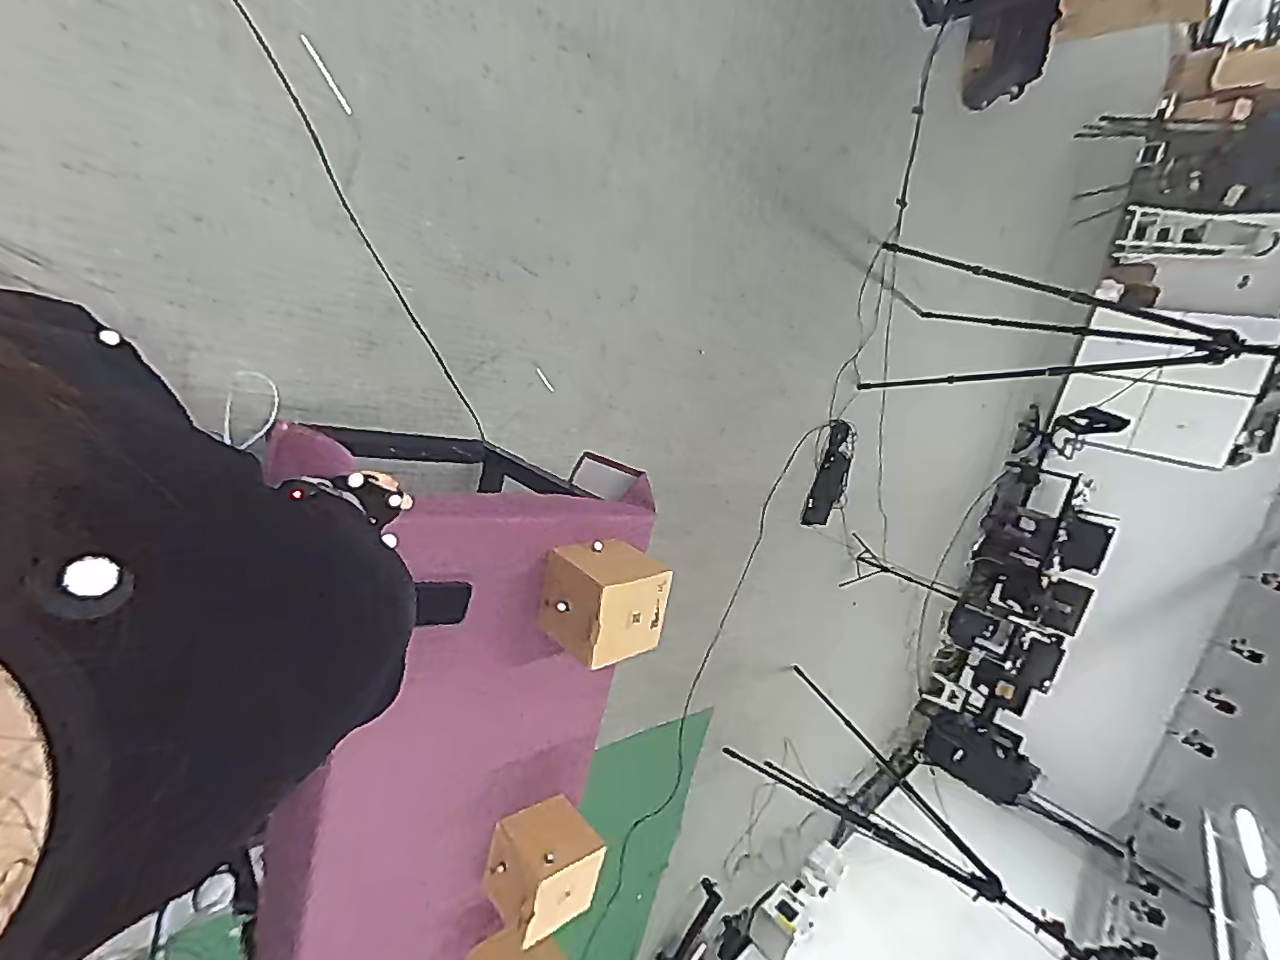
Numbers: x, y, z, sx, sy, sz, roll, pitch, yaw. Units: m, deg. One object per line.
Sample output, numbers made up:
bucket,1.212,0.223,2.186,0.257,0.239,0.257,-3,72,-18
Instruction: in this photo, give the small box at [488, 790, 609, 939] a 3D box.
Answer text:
small box,-0.200,0.817,1.173,0.179,0.176,0.168,5,104,-45

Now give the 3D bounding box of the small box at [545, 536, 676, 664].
small box,-0.062,0.219,1.038,0.179,0.176,0.168,-3,111,-43

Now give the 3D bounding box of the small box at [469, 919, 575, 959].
small box,-0.279,1.134,1.231,0.179,0.176,0.168,3,104,-45
